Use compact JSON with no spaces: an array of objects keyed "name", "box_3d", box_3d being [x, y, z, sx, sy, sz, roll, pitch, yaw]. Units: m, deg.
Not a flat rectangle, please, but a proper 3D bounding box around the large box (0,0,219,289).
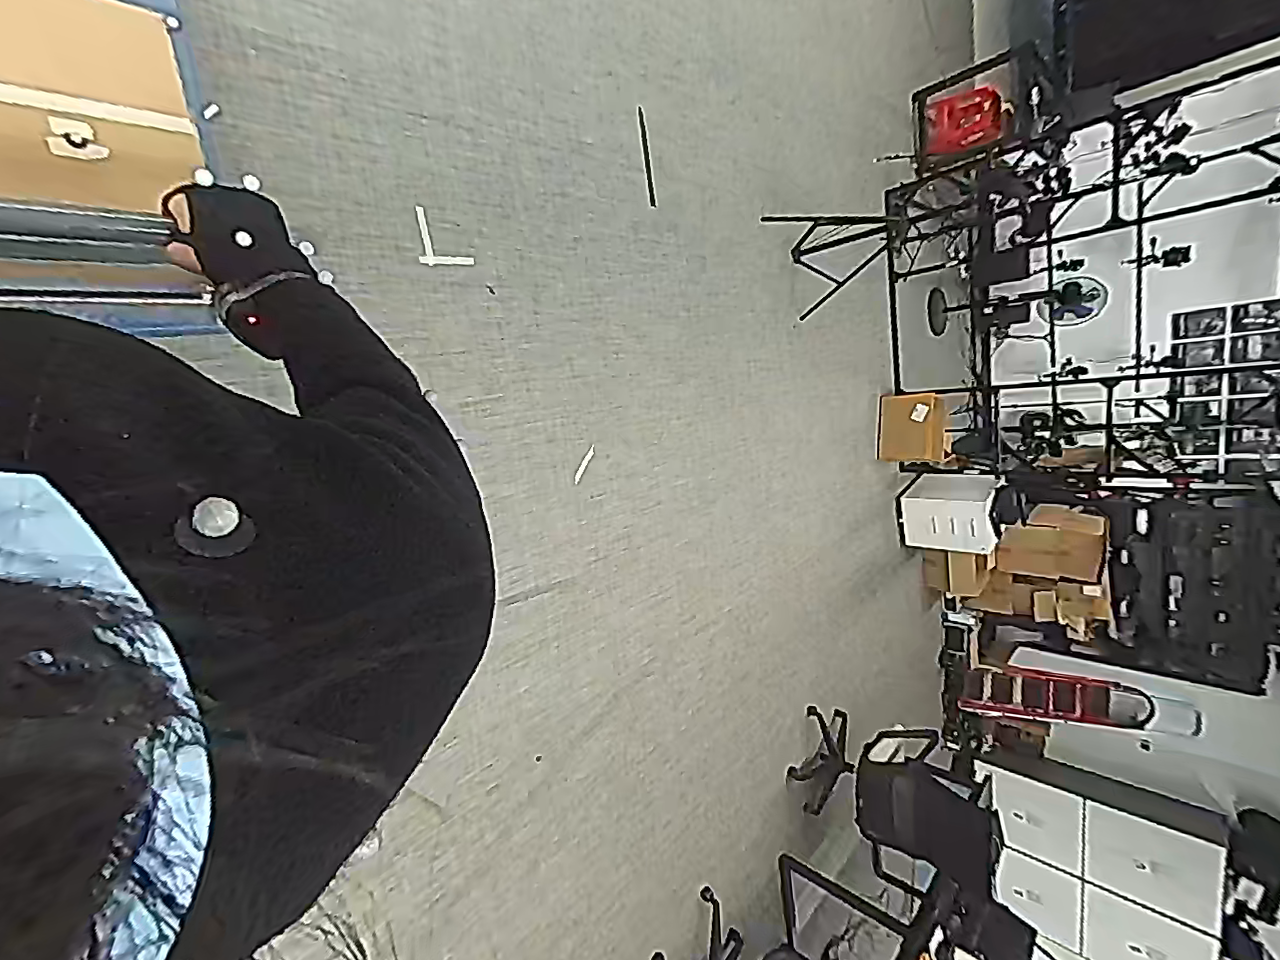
[{"name":"large box","box_3d":[-0.911,-0.467,0.773,0.408,0.320,0.320,-17,104,-45]}]
